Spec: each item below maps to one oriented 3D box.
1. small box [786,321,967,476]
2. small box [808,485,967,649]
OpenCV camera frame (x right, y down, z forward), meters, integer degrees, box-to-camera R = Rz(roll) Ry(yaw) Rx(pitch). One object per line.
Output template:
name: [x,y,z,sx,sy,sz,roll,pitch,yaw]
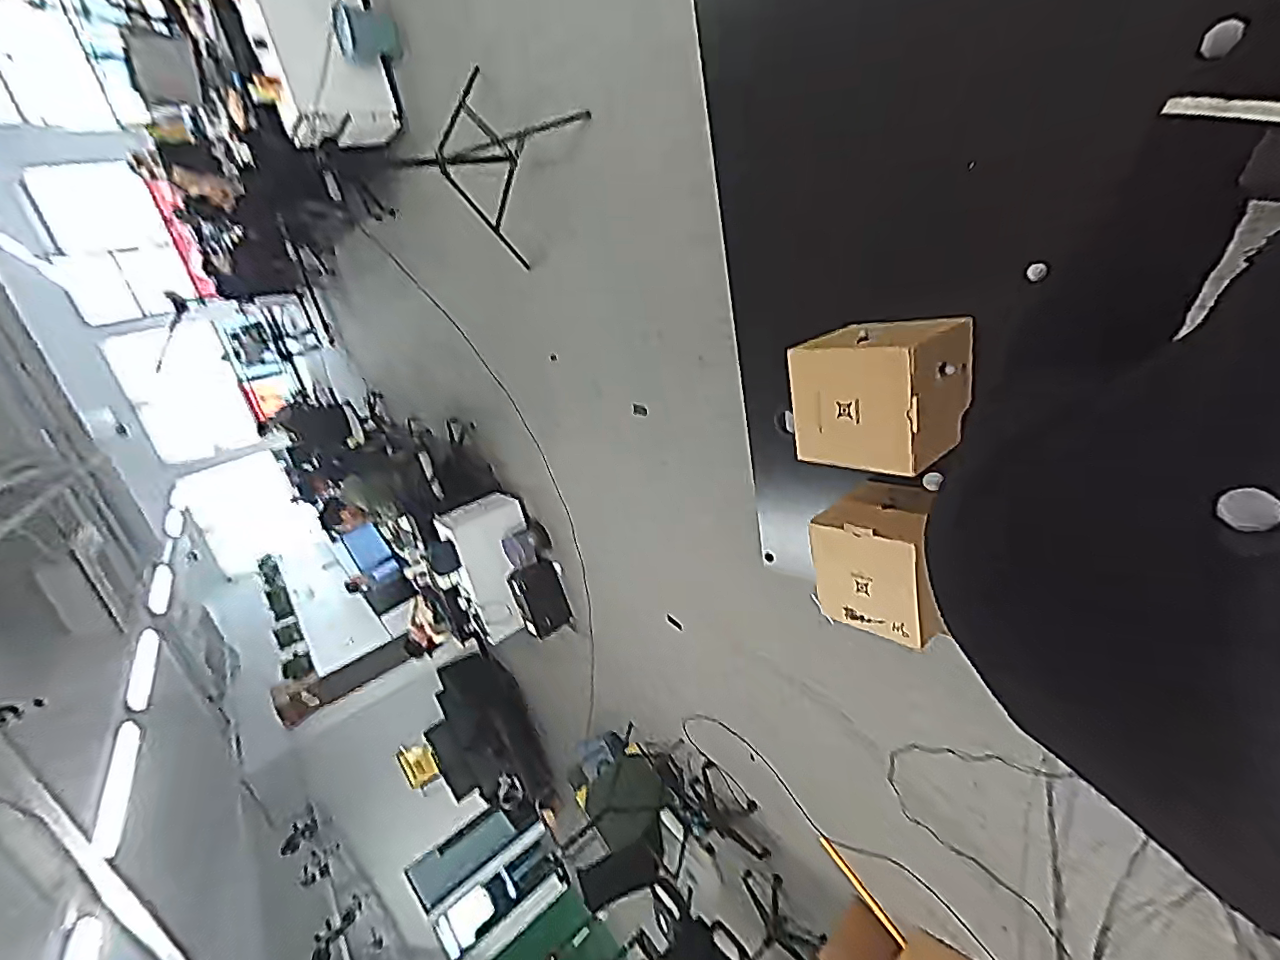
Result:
small box: [0.332,-0.121,0.756,0.179,0.176,0.168,15,122,51]
small box: [0.387,0.121,0.841,0.168,0.176,0.179,12,120,51]
